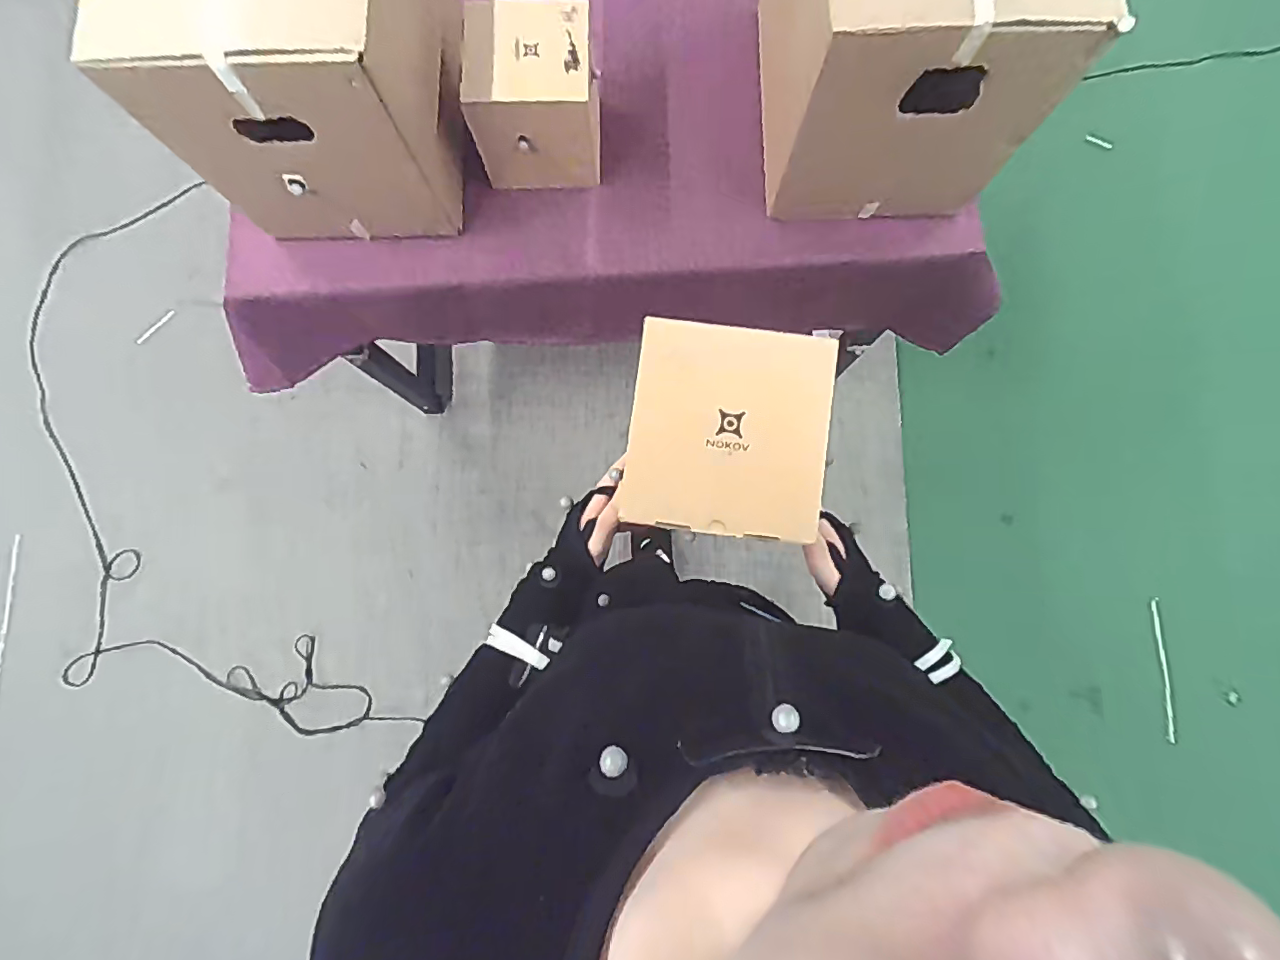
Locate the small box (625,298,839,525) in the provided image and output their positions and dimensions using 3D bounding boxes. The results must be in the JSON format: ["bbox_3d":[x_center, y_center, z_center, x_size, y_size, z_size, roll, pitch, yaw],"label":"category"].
[{"bbox_3d":[0.078,-0.054,0.533,0.168,0.176,0.179,8,87,1],"label":"small box"}]

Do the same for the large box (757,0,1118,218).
[{"bbox_3d":[0.358,-0.642,0.755,0.320,0.320,0.408,0,82,0],"label":"large box"}]
